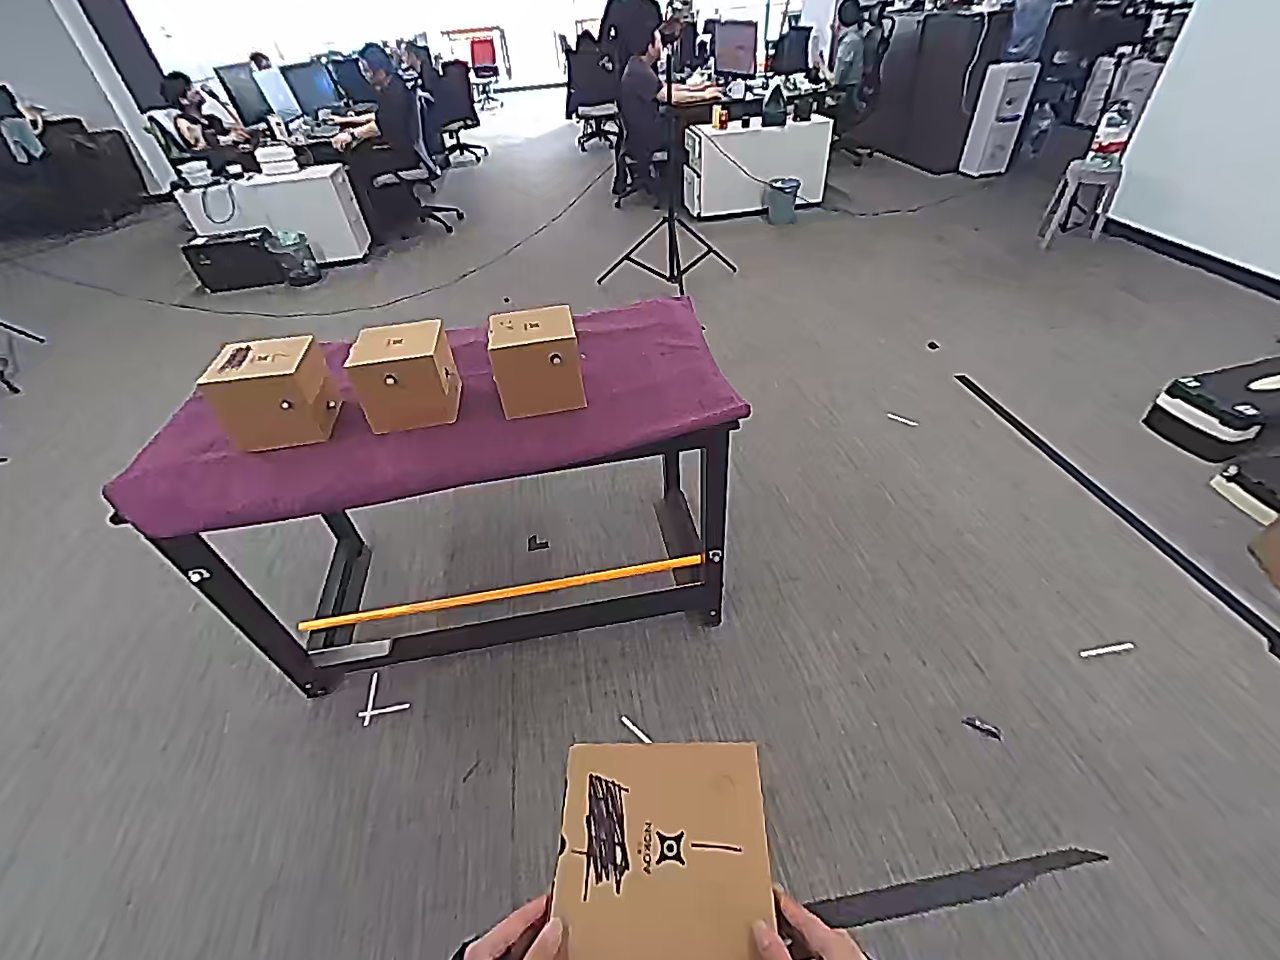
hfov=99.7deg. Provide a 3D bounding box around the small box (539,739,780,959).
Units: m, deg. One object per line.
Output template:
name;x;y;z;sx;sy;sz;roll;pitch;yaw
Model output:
small box;0.026;0.355;0.491;0.179;0.176;0.168;-4;41;6

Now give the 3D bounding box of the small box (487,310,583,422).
small box;-0.222;-0.246;1.169;0.179;0.176;0.168;-10;40;-5

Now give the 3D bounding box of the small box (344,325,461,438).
small box;-0.498;-0.211;1.166;0.179;0.176;0.168;-10;42;-4
